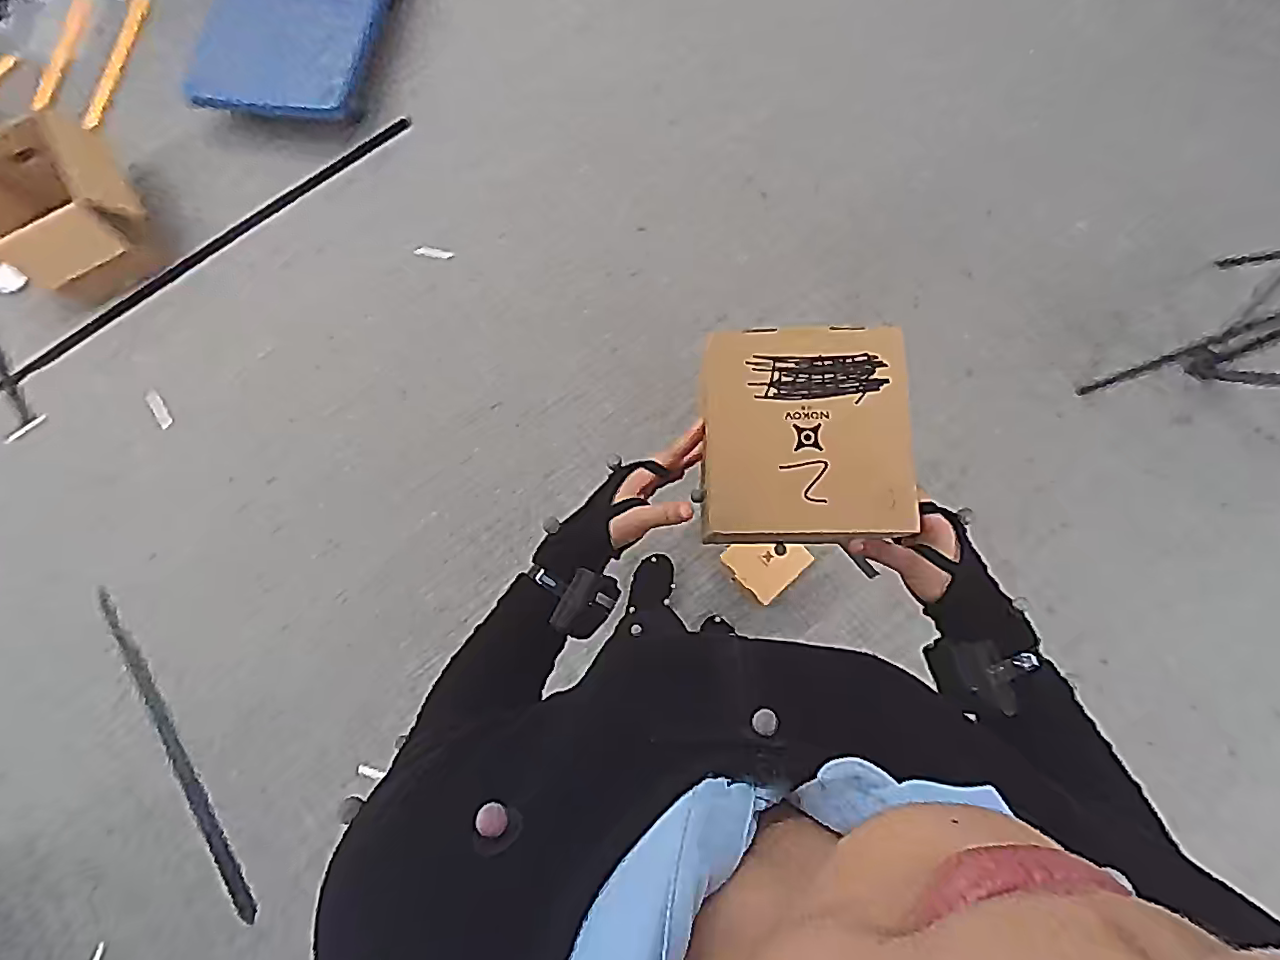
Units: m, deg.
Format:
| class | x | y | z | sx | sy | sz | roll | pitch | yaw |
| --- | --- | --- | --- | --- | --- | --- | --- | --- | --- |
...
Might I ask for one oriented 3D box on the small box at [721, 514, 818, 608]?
| class | x | y | z | sx | sy | sz | roll | pitch | yaw |
| --- | --- | --- | --- | --- | --- | --- | --- | --- | --- |
| small box | 0.329 | 0.216 | 1.422 | 0.179 | 0.176 | 0.168 | -42 | 78 | -5 |
